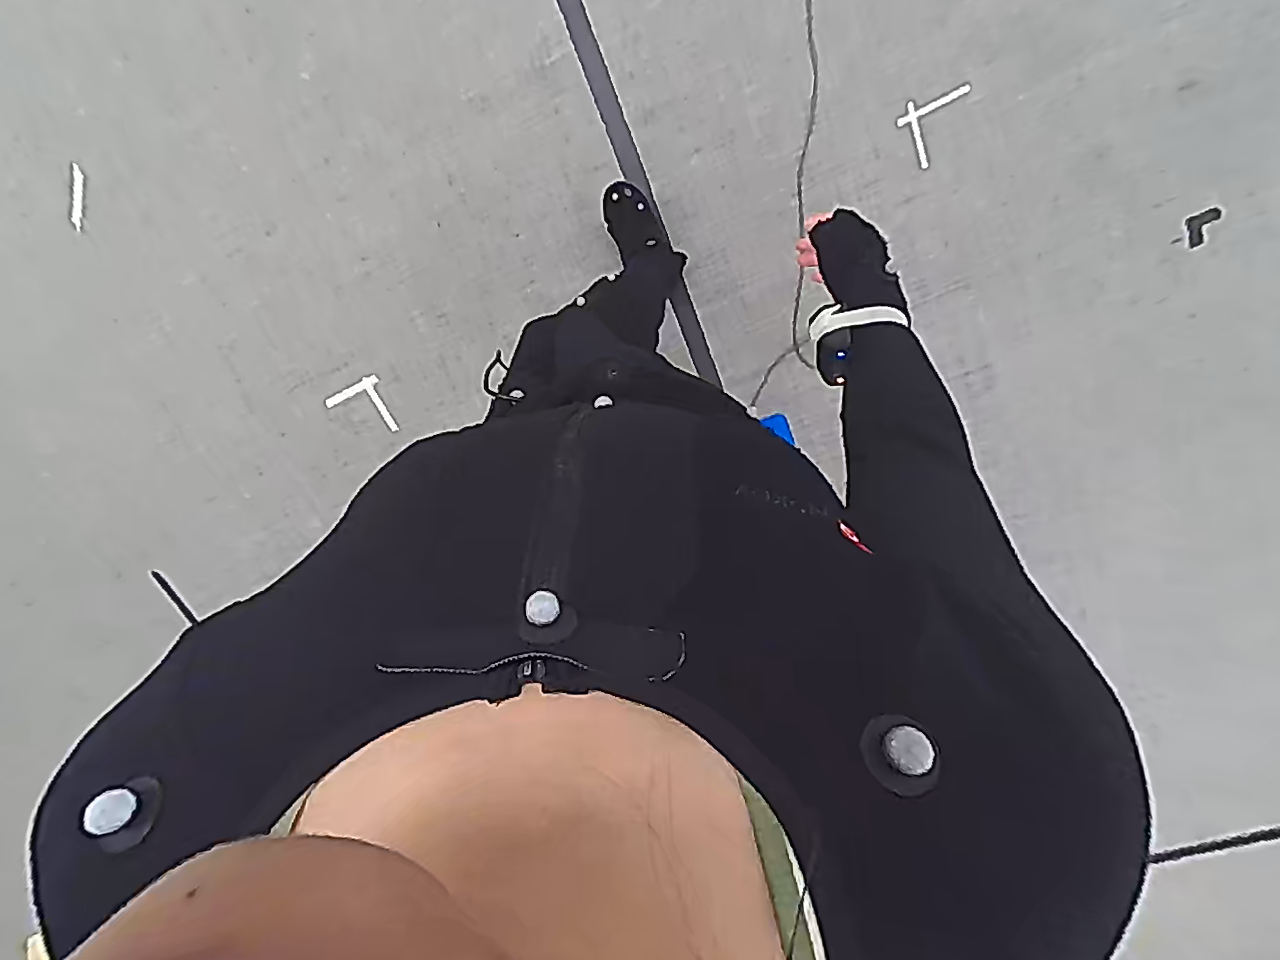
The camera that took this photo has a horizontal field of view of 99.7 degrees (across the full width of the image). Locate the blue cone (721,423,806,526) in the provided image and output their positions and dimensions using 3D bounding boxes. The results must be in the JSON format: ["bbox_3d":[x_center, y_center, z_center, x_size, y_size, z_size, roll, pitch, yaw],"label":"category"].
[{"bbox_3d":[0.312,0.009,1.272,0.193,0.380,0.192,-22,106,11],"label":"blue cone"}]
